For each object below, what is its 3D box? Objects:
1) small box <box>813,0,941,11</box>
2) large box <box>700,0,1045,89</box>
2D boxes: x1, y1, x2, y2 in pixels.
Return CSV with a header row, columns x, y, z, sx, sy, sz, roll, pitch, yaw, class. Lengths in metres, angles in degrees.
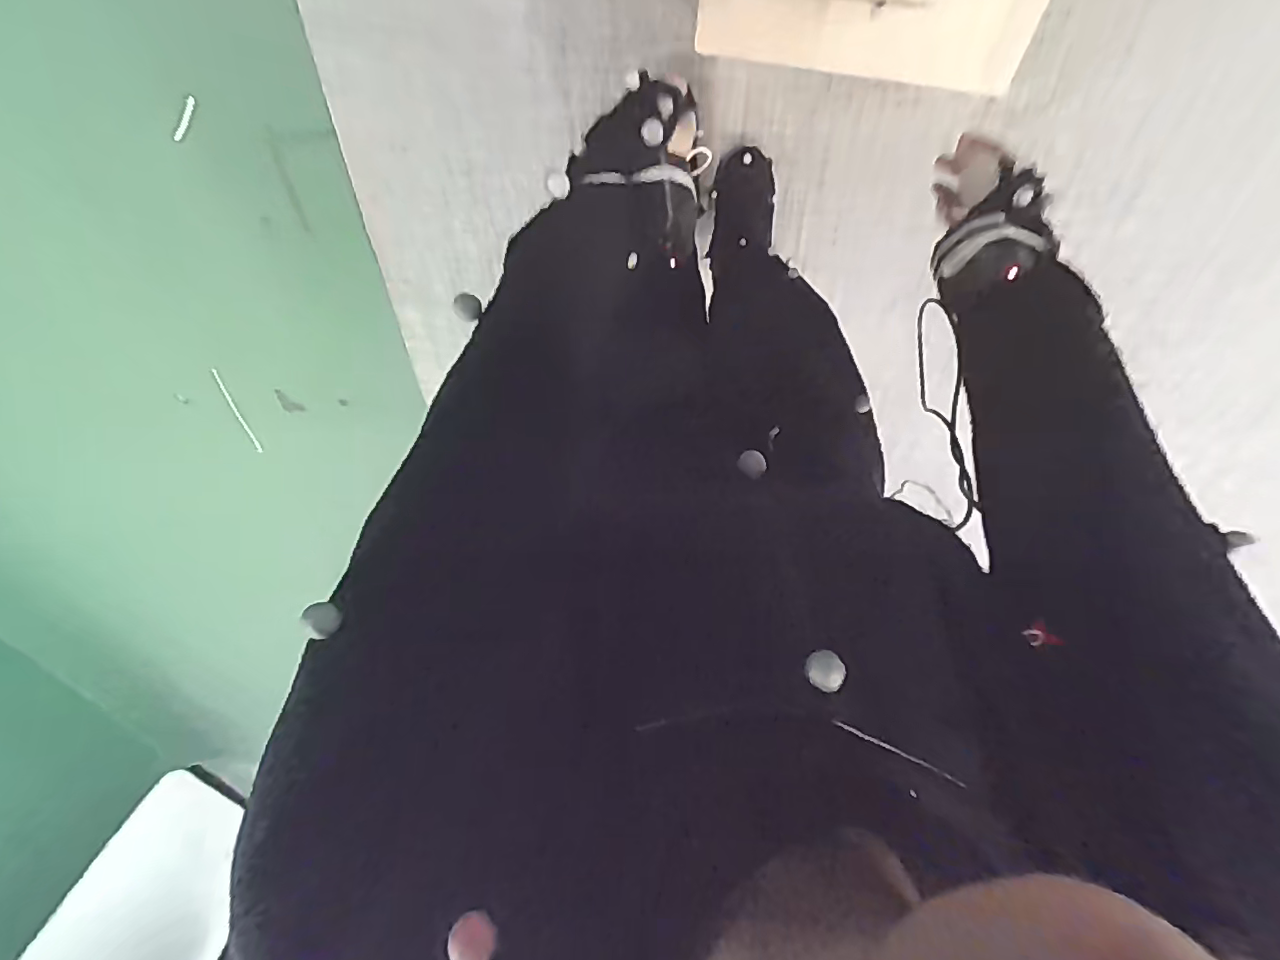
x,y,z,sx,sy,sz,roll,pitch,yaw,class
0.225,-0.581,0.531,0.179,0.176,0.168,11,130,3,small box
0.302,-0.735,0.707,0.408,0.320,0.320,9,132,2,large box
